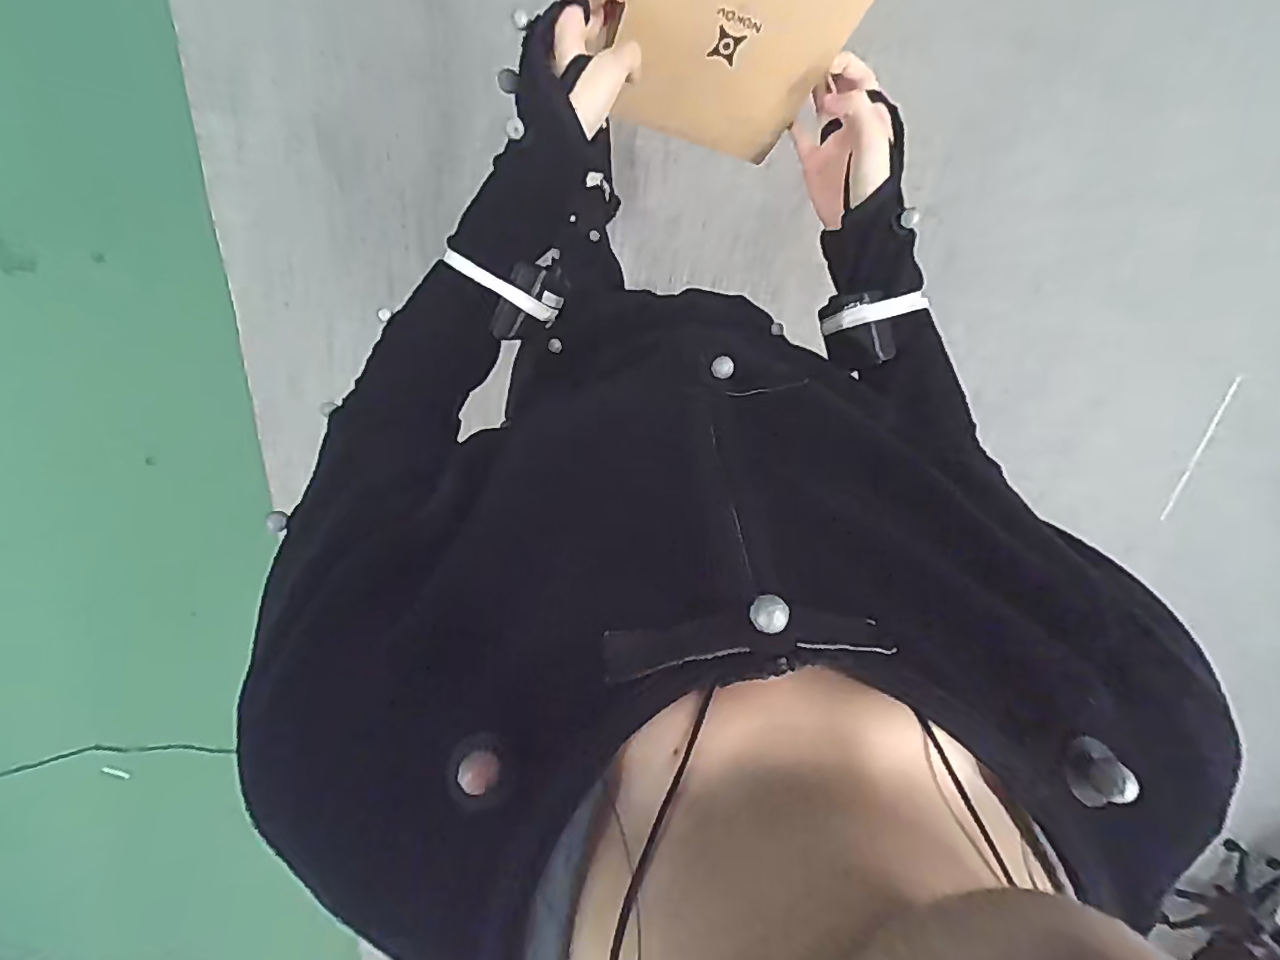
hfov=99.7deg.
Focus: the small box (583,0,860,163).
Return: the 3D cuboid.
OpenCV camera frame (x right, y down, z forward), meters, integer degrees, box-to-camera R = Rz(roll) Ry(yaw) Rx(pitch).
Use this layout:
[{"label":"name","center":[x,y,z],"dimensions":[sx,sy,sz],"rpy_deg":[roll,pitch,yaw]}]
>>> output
[{"label":"small box","center":[0.058,-0.407,0.429],"dimensions":[0.168,0.176,0.179],"rpy_deg":[6,158,-21]}]
